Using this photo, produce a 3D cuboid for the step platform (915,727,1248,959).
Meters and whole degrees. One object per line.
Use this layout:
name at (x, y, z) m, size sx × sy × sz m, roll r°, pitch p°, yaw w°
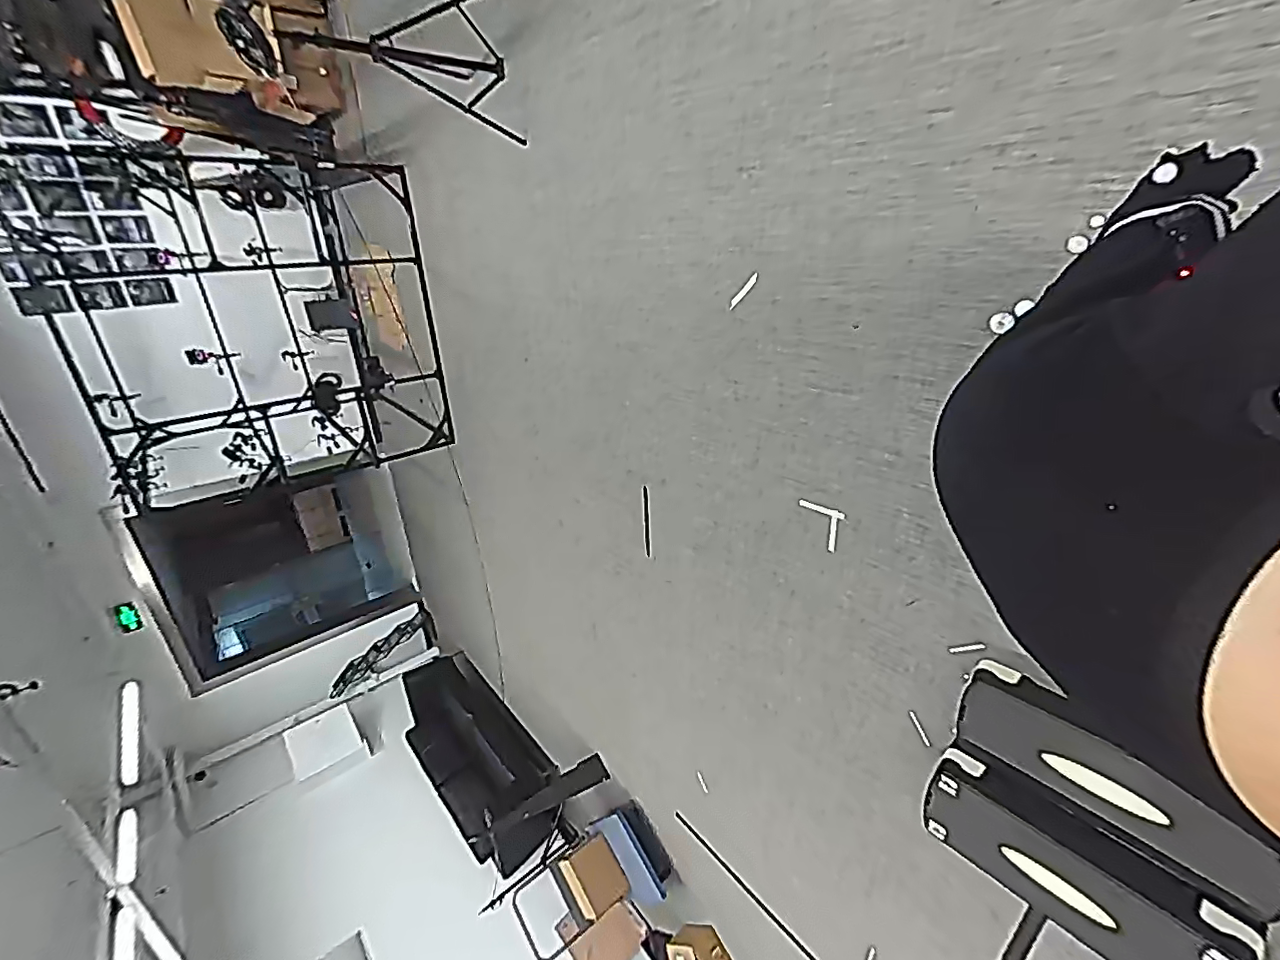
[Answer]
step platform at (1.129, 1.011, 1.472) m, size 0.684 × 0.204 × 0.286 m, roll 24°, pitch 125°, yaw 46°
